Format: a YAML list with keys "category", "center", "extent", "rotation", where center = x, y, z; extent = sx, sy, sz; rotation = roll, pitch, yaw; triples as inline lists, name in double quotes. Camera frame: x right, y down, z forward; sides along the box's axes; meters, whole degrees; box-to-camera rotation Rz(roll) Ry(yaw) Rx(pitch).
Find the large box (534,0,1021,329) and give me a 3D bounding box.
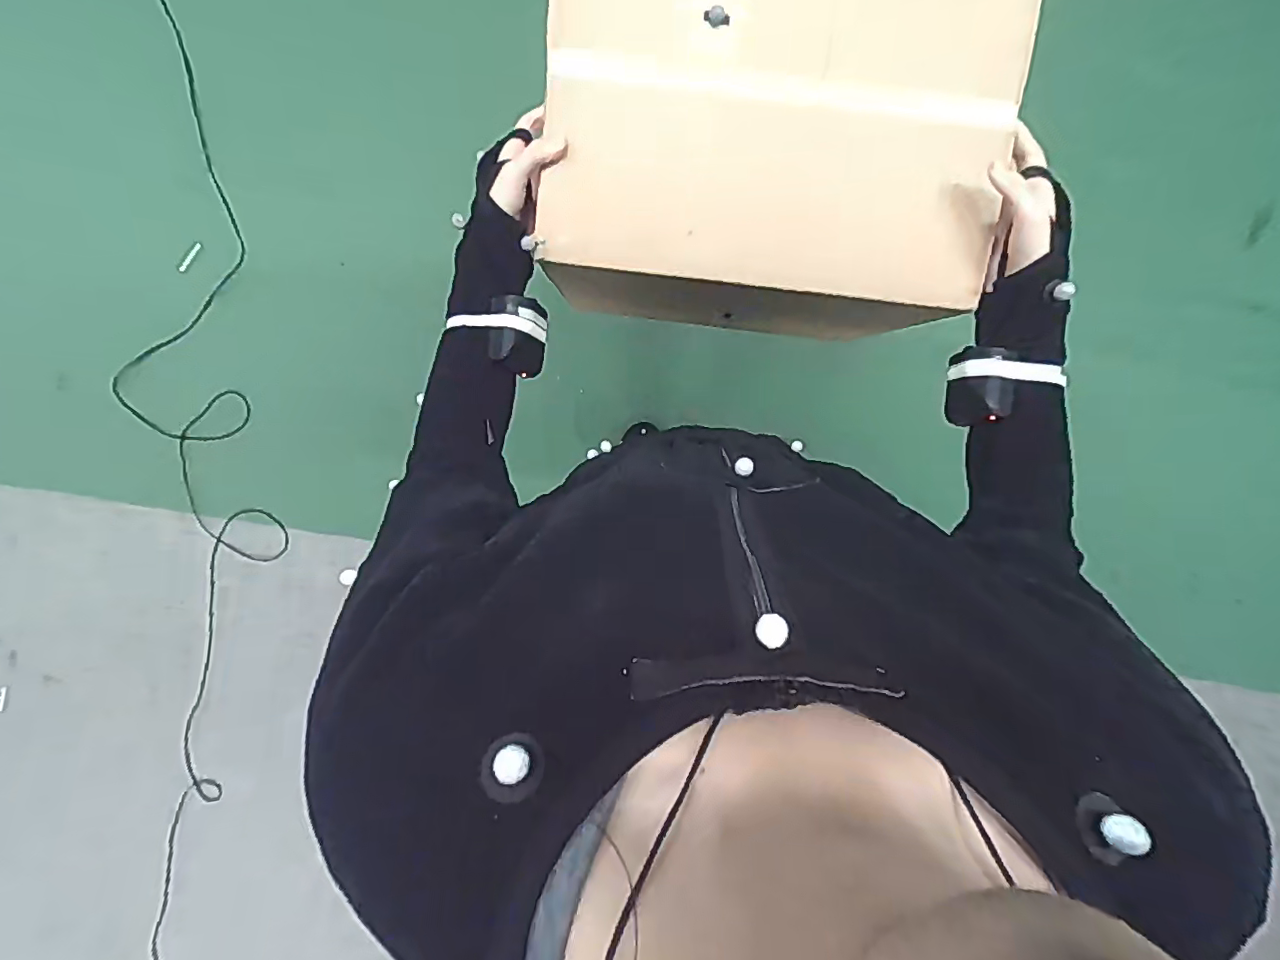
- category: "large box"
  center: [0.118, -0.357, 0.618]
  extent: [0.408, 0.320, 0.320]
  rotation: [6, 99, 0]
